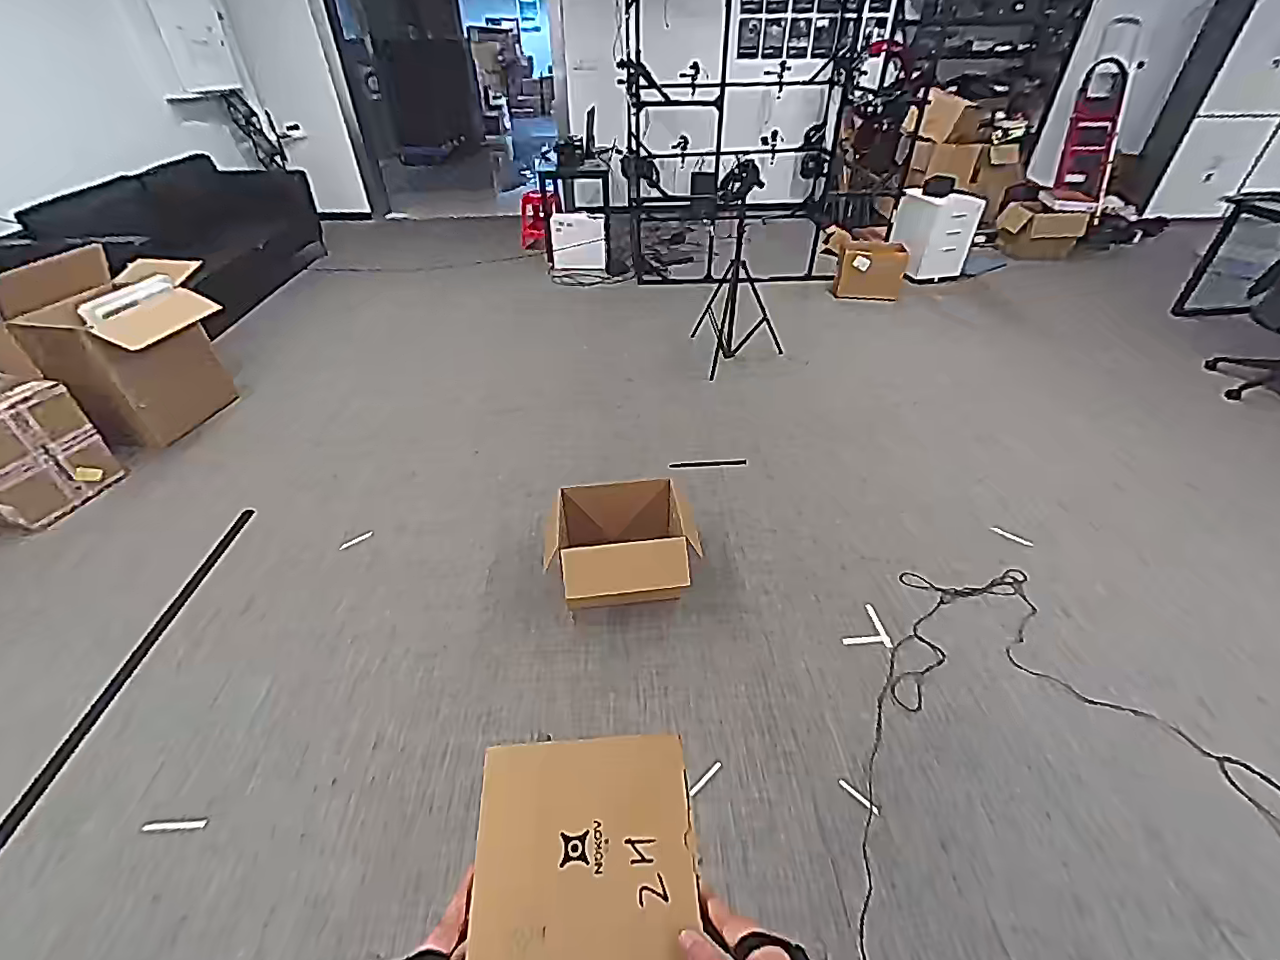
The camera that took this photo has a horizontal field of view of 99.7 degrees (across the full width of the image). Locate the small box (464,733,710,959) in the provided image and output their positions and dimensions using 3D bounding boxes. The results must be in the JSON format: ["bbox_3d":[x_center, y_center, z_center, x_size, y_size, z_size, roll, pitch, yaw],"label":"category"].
[{"bbox_3d":[-0.041,0.340,0.481,0.179,0.176,0.168,-3,50,-3],"label":"small box"}]
